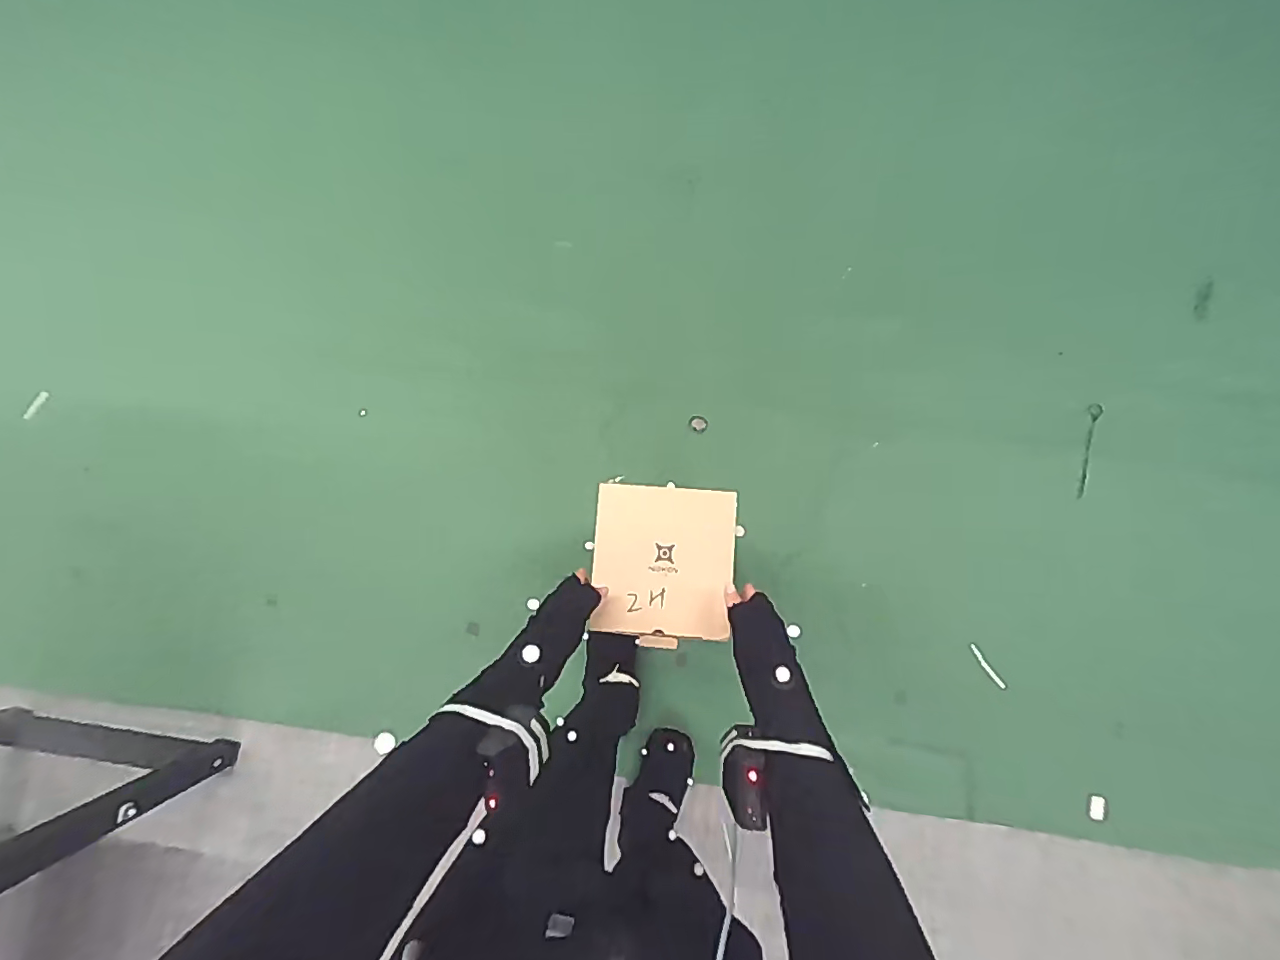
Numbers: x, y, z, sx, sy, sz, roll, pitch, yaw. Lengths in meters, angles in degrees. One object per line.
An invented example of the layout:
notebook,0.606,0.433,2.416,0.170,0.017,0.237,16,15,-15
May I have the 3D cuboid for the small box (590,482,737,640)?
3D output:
small box,0.030,0.104,0.716,0.168,0.176,0.179,4,84,2
